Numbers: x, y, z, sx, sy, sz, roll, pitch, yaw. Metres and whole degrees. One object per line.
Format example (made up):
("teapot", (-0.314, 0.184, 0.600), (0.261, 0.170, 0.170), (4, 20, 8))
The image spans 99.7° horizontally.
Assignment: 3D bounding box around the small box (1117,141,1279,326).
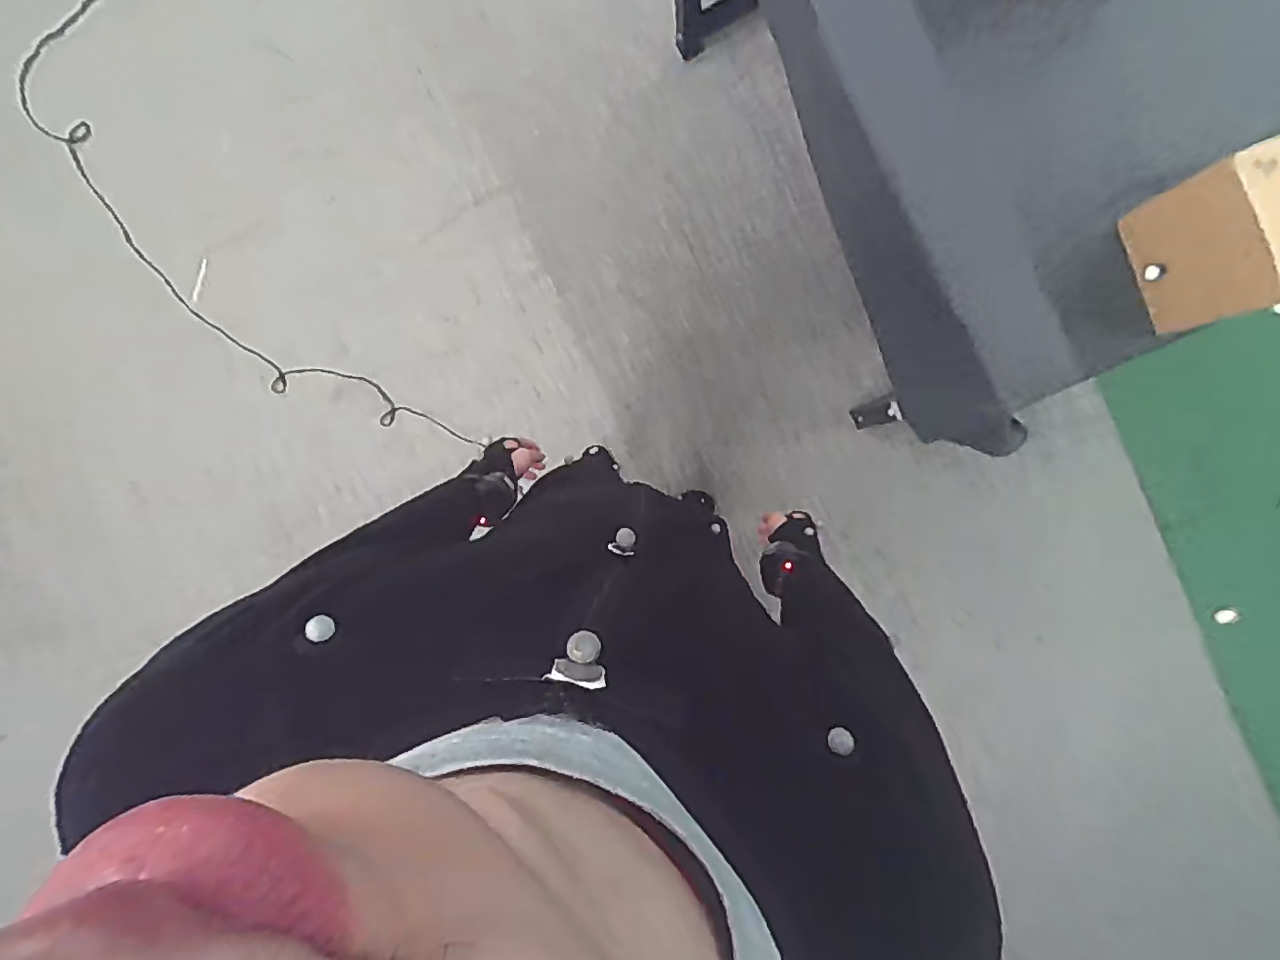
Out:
("small box", (0.763, -0.307, 0.675), (0.168, 0.176, 0.179), (-21, 92, 5))
